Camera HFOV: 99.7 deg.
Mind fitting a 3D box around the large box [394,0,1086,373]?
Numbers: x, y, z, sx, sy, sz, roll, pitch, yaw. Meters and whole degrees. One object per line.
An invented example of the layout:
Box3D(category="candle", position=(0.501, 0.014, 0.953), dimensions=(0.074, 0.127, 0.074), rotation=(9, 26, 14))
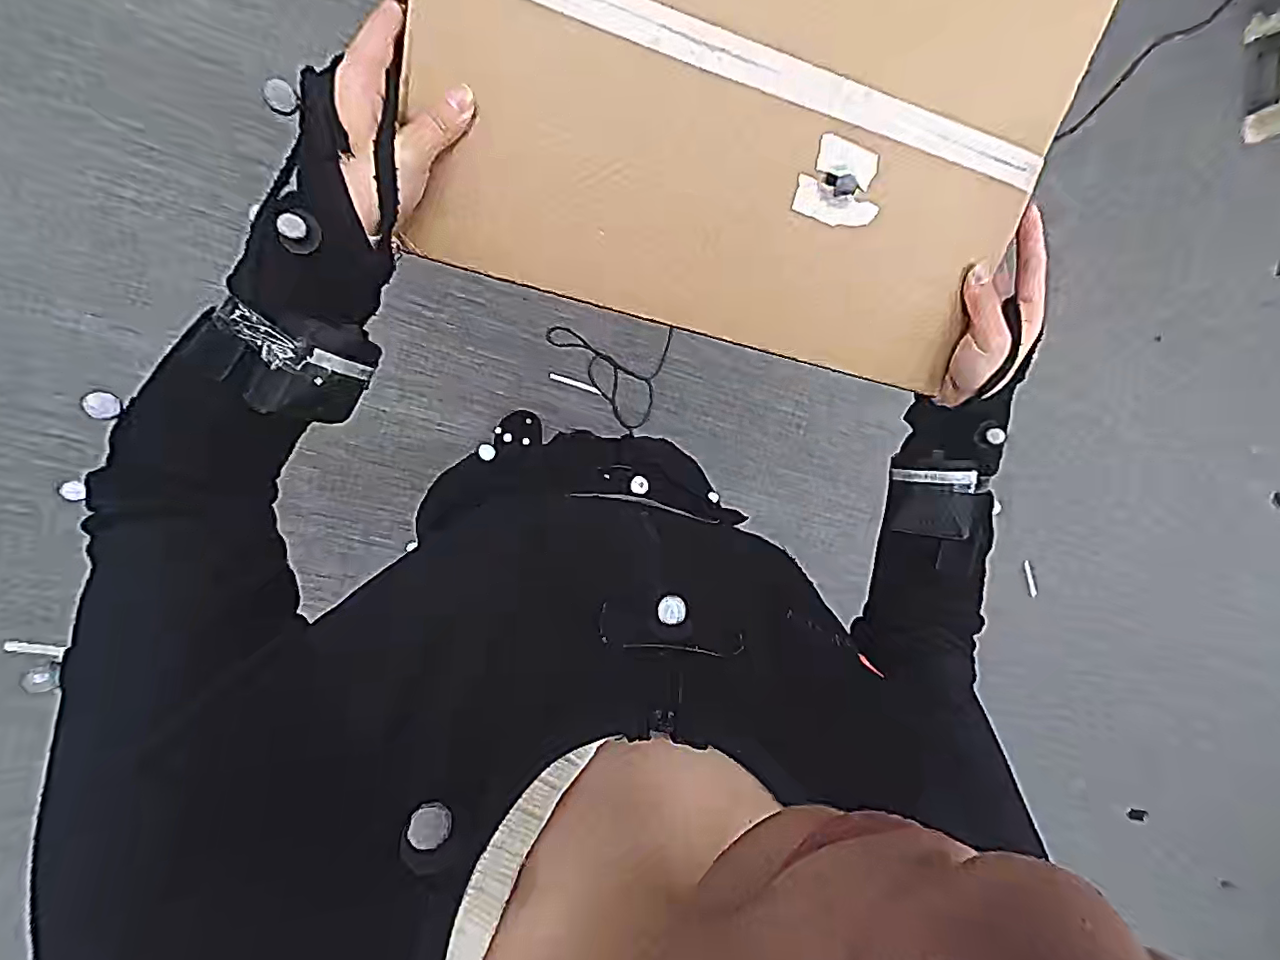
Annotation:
Box3D(category="large box", position=(0.047, -0.309, 0.467), dimensions=(0.408, 0.320, 0.320), rotation=(11, 110, -14))
